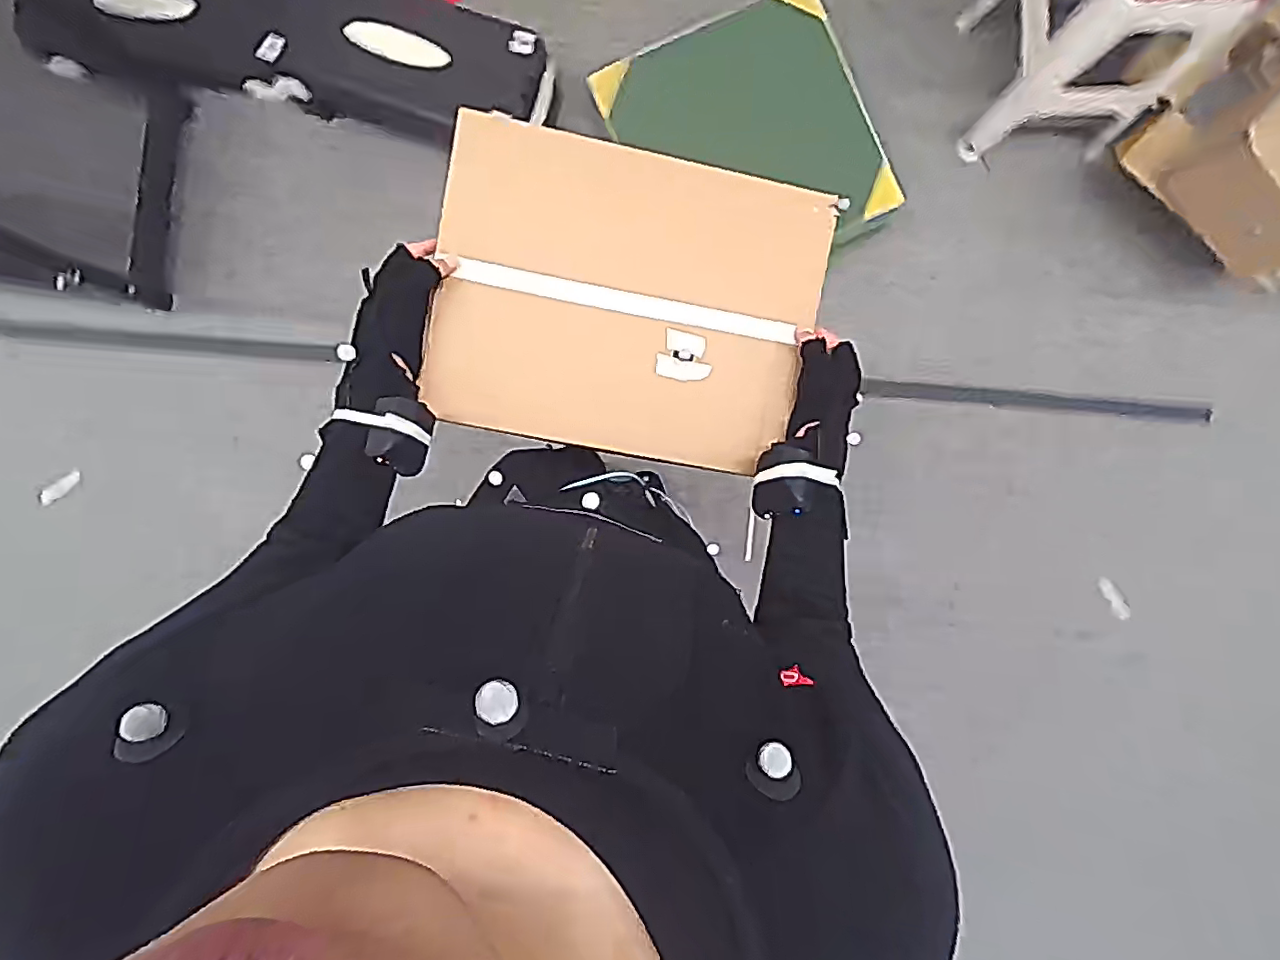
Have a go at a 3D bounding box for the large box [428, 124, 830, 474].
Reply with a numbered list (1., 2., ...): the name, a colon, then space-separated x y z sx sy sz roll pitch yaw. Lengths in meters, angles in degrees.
1. large box: -0.023 -0.198 0.735 0.408 0.320 0.320 11 93 -6
